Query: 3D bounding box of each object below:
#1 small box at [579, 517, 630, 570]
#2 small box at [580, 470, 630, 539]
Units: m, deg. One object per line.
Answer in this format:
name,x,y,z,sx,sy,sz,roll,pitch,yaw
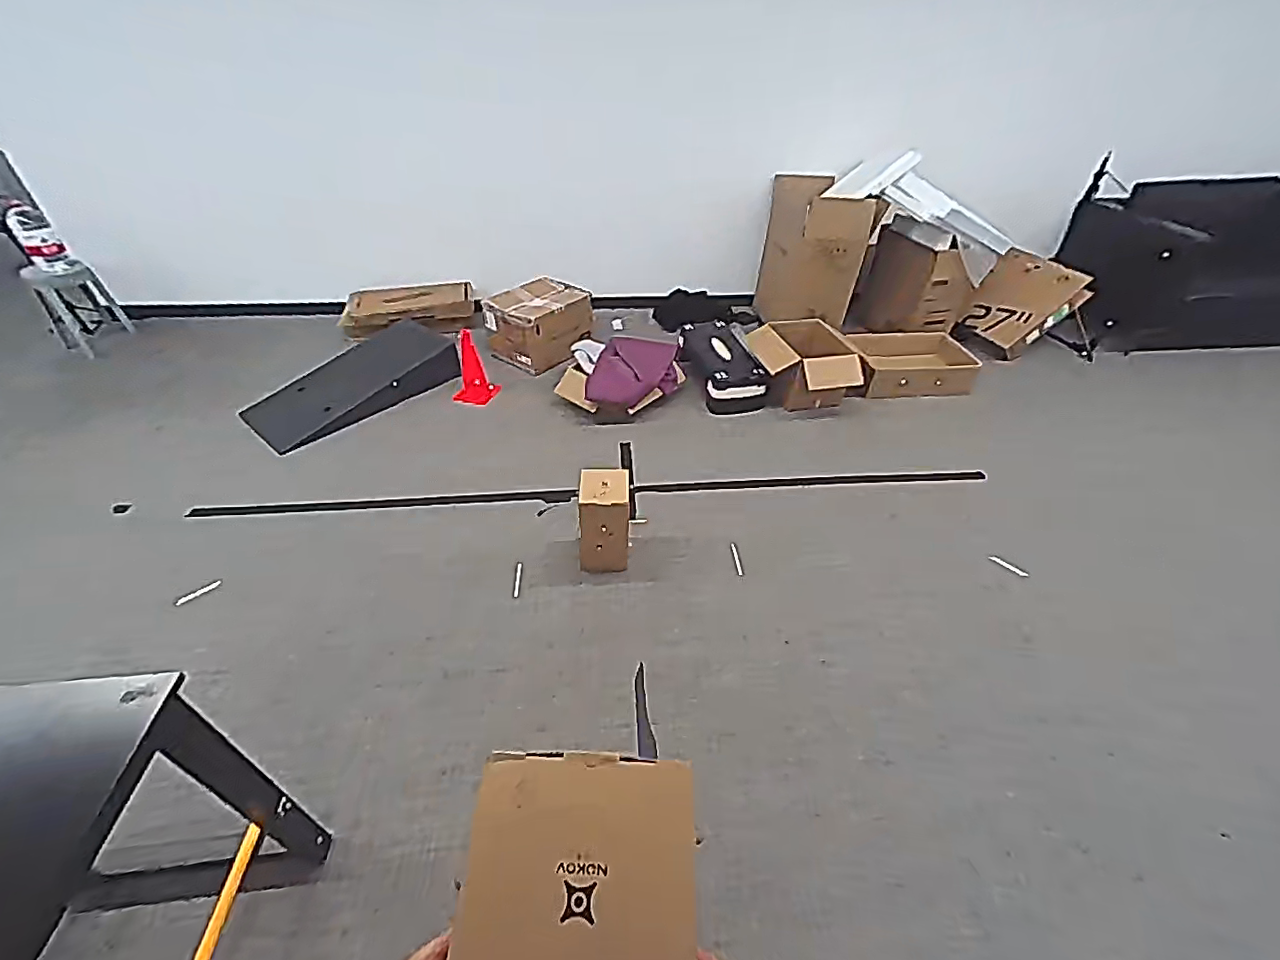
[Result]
small box,-0.127,0.213,1.968,0.179,0.176,0.168,0,41,-2
small box,-0.117,0.084,1.865,0.168,0.176,0.179,0,41,-1
